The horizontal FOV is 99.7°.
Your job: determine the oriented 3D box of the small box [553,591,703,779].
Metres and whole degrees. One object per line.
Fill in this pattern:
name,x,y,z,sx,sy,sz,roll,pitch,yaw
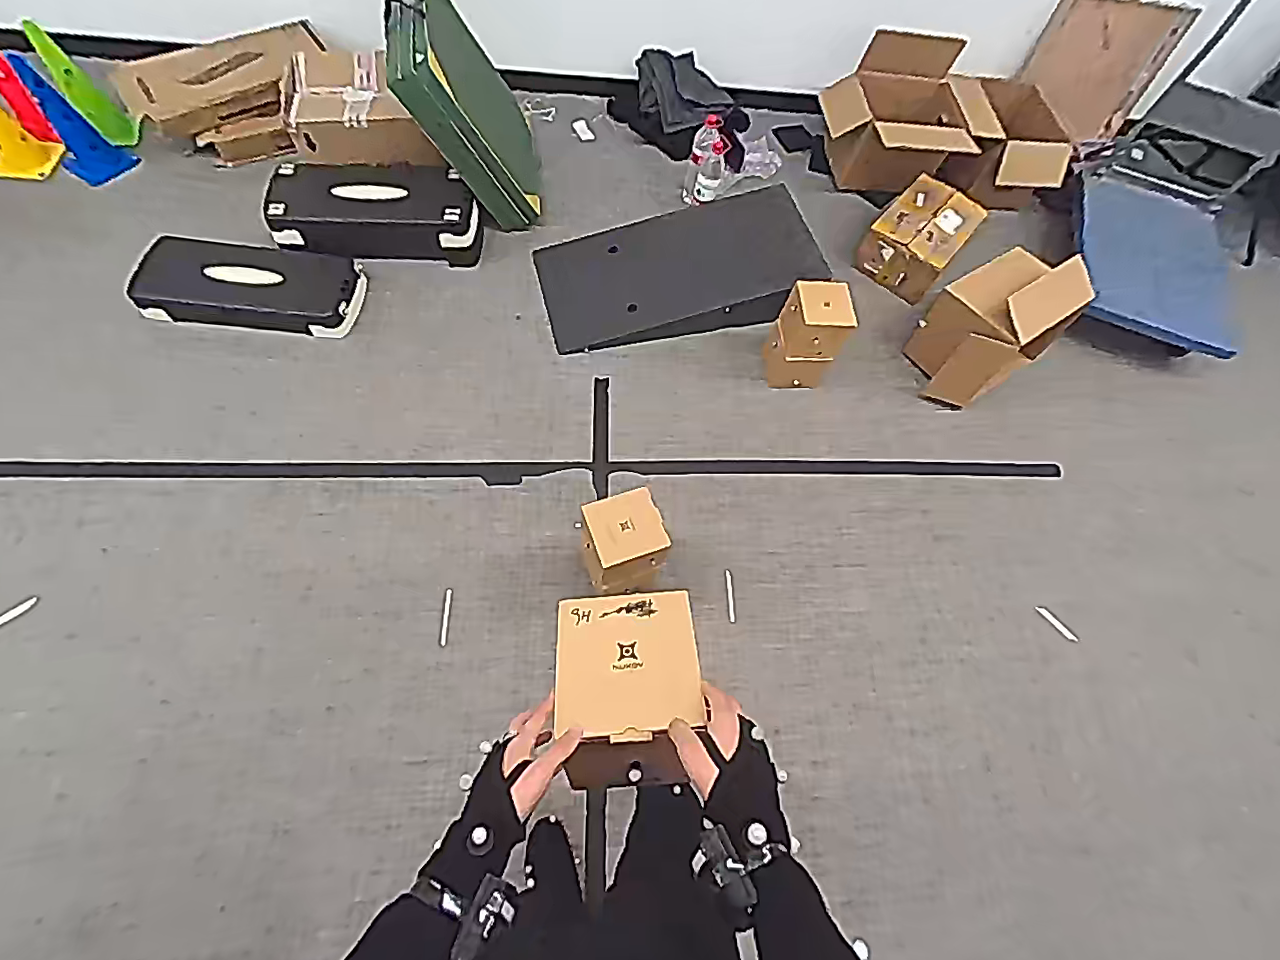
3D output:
small box,-0.012,0.265,0.689,0.168,0.176,0.179,-4,45,-1
